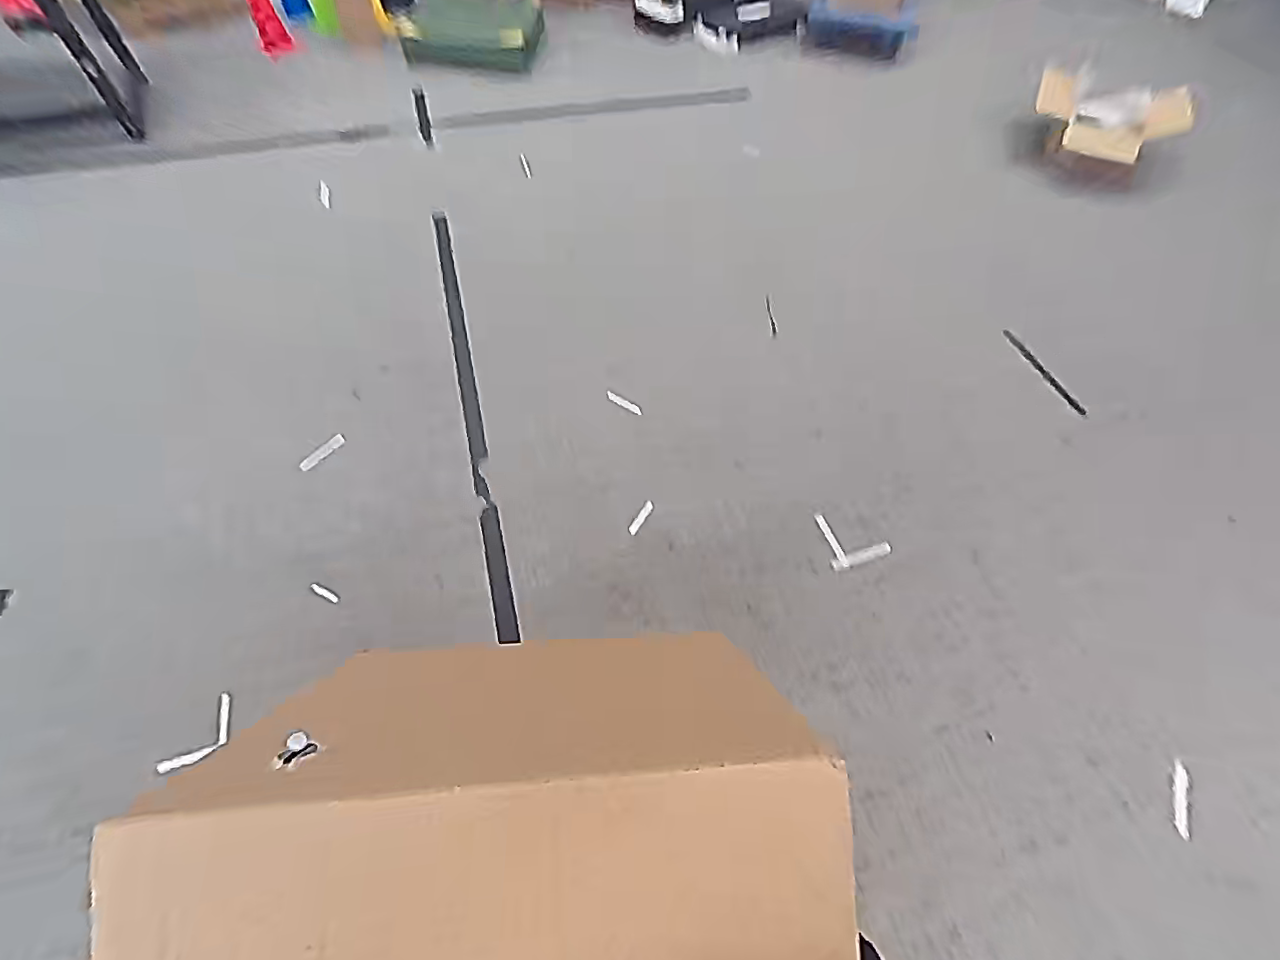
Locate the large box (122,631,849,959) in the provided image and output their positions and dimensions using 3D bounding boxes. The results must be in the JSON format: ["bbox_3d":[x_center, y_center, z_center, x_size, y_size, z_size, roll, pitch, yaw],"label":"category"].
[{"bbox_3d":[-0.086,0.326,0.450,0.408,0.320,0.320,-3,90,-4],"label":"large box"}]
